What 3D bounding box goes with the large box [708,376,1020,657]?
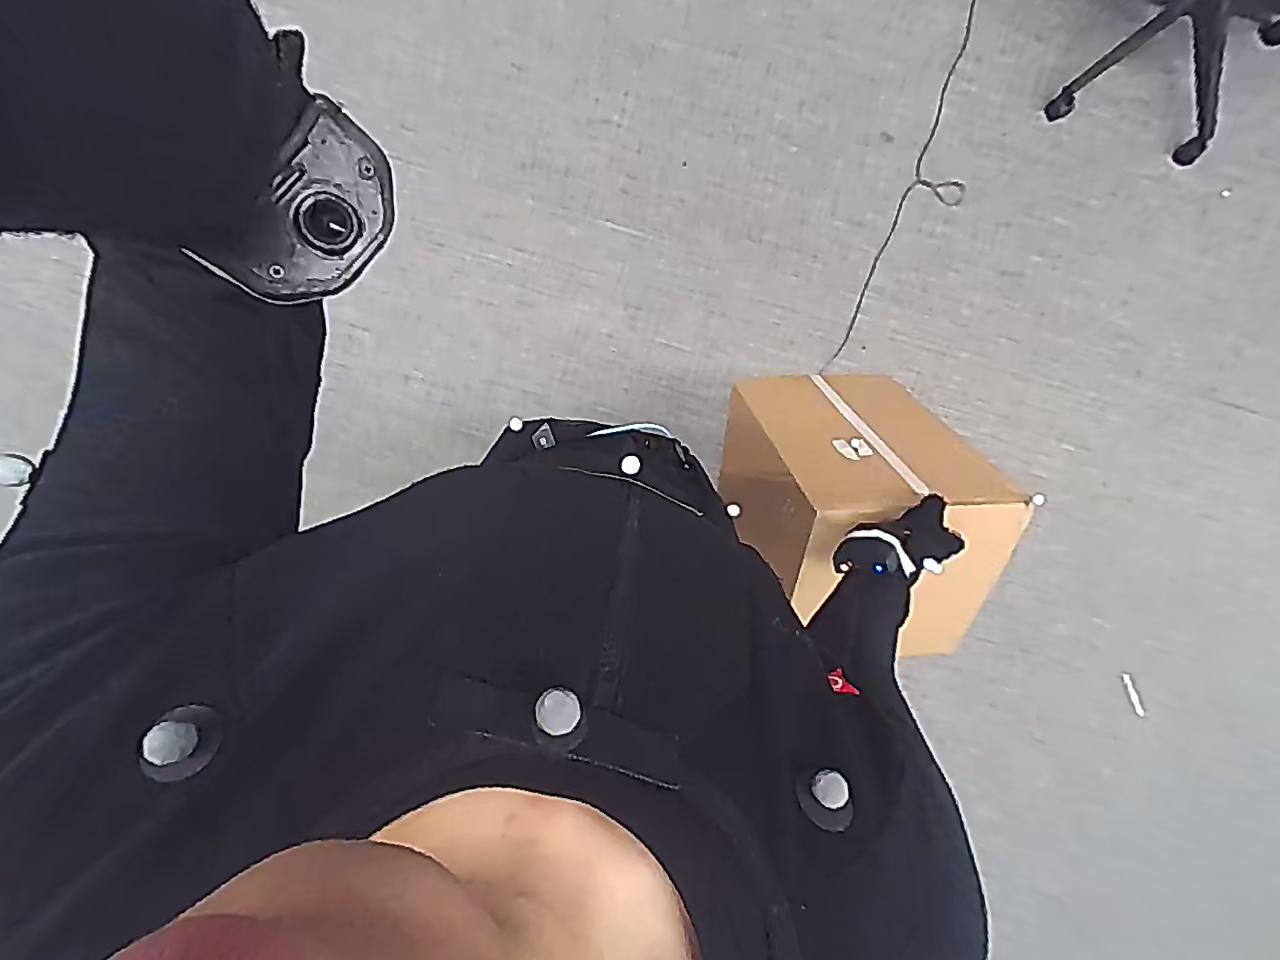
[{"bbox_3d":[0.331,0.047,0.955,0.320,0.408,0.320,-1,127,-7],"label":"large box"}]
